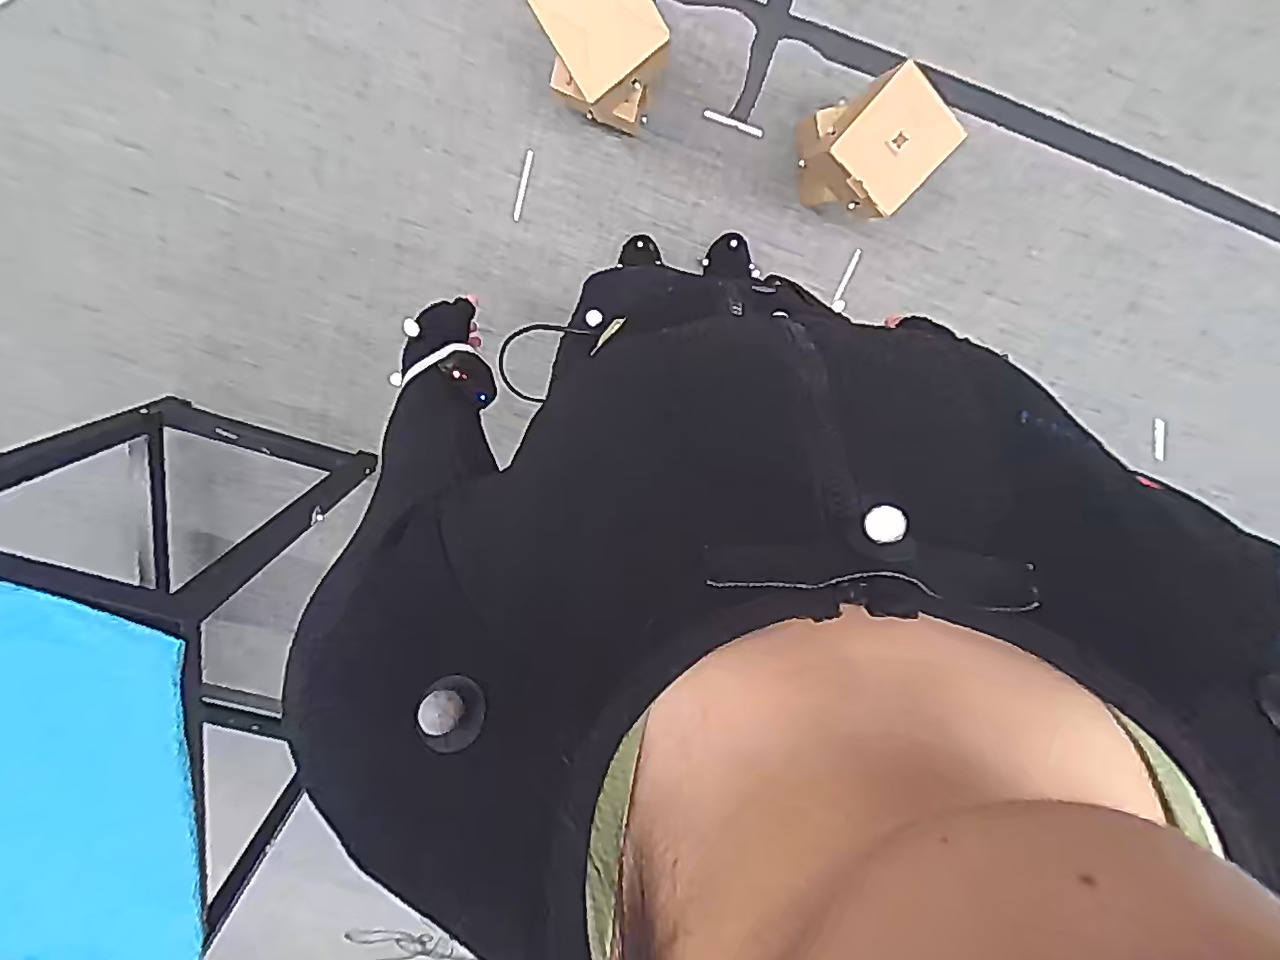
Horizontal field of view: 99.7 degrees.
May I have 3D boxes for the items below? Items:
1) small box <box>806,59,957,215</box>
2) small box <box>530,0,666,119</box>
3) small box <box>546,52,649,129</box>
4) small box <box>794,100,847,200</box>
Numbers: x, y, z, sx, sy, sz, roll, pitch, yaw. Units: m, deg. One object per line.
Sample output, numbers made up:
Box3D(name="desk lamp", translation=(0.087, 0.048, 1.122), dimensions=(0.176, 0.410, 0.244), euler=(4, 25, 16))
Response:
Box3D(name="small box", translation=(0.435, -0.624, 1.012), dimensions=(0.168, 0.176, 0.179), euler=(39, 109, -18))
Box3D(name="small box", translation=(-0.069, -0.778, 0.939), dimensions=(0.168, 0.176, 0.179), euler=(-32, 110, 14))
Box3D(name="small box", translation=(-0.071, -0.839, 1.096), dimensions=(0.179, 0.176, 0.168), euler=(20, 113, -7))
Box3D(name="small box", translation=(0.434, -0.705, 1.154), dimensions=(0.179, 0.176, 0.168), euler=(-10, 116, 6))
